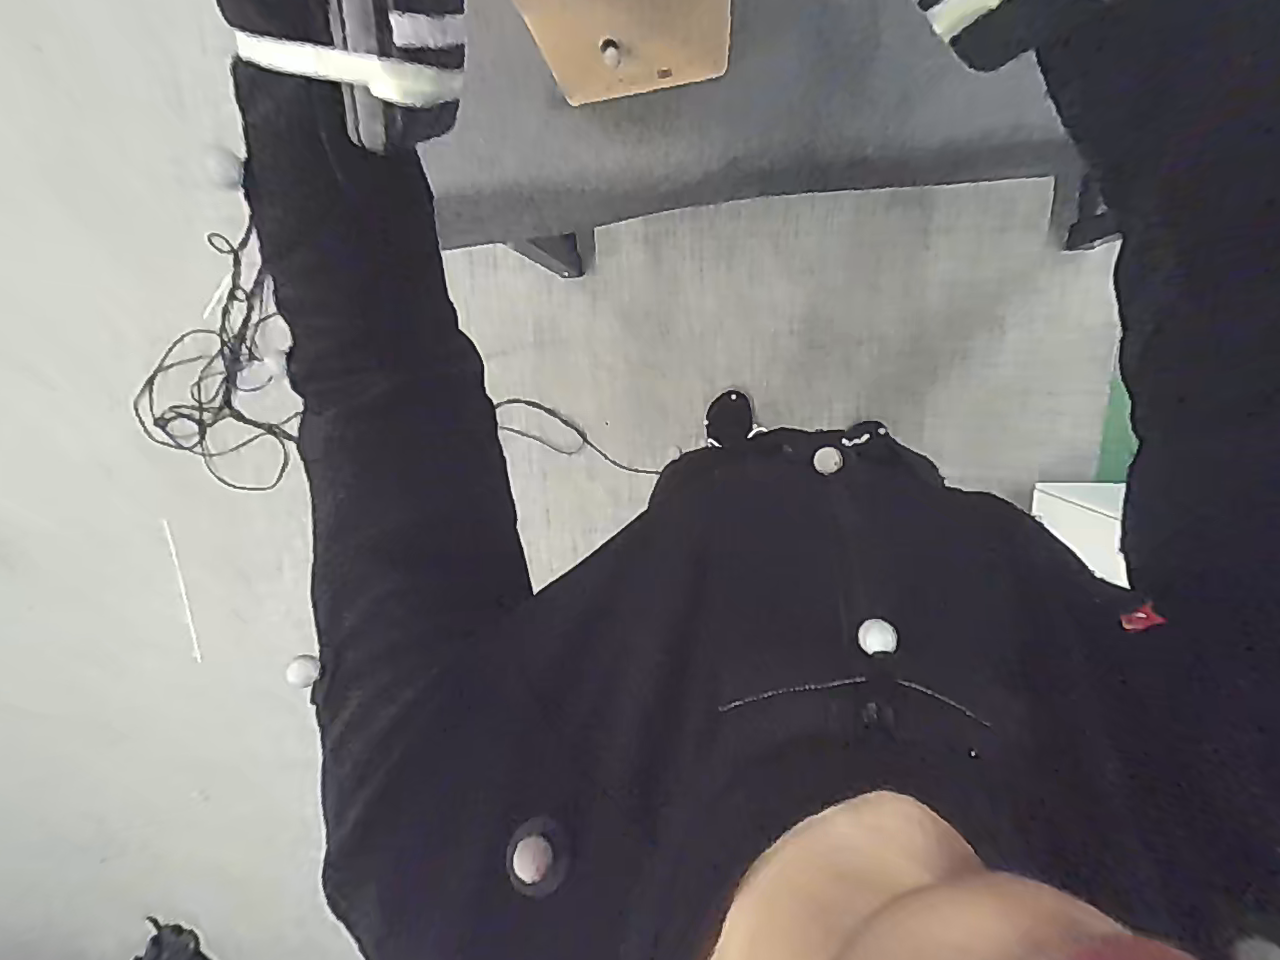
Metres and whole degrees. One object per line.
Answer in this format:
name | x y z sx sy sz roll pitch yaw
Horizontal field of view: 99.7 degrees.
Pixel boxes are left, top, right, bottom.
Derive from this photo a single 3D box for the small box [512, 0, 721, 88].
small box | -0.018 -0.474 0.464 0.168 0.176 0.179 -5 101 8
